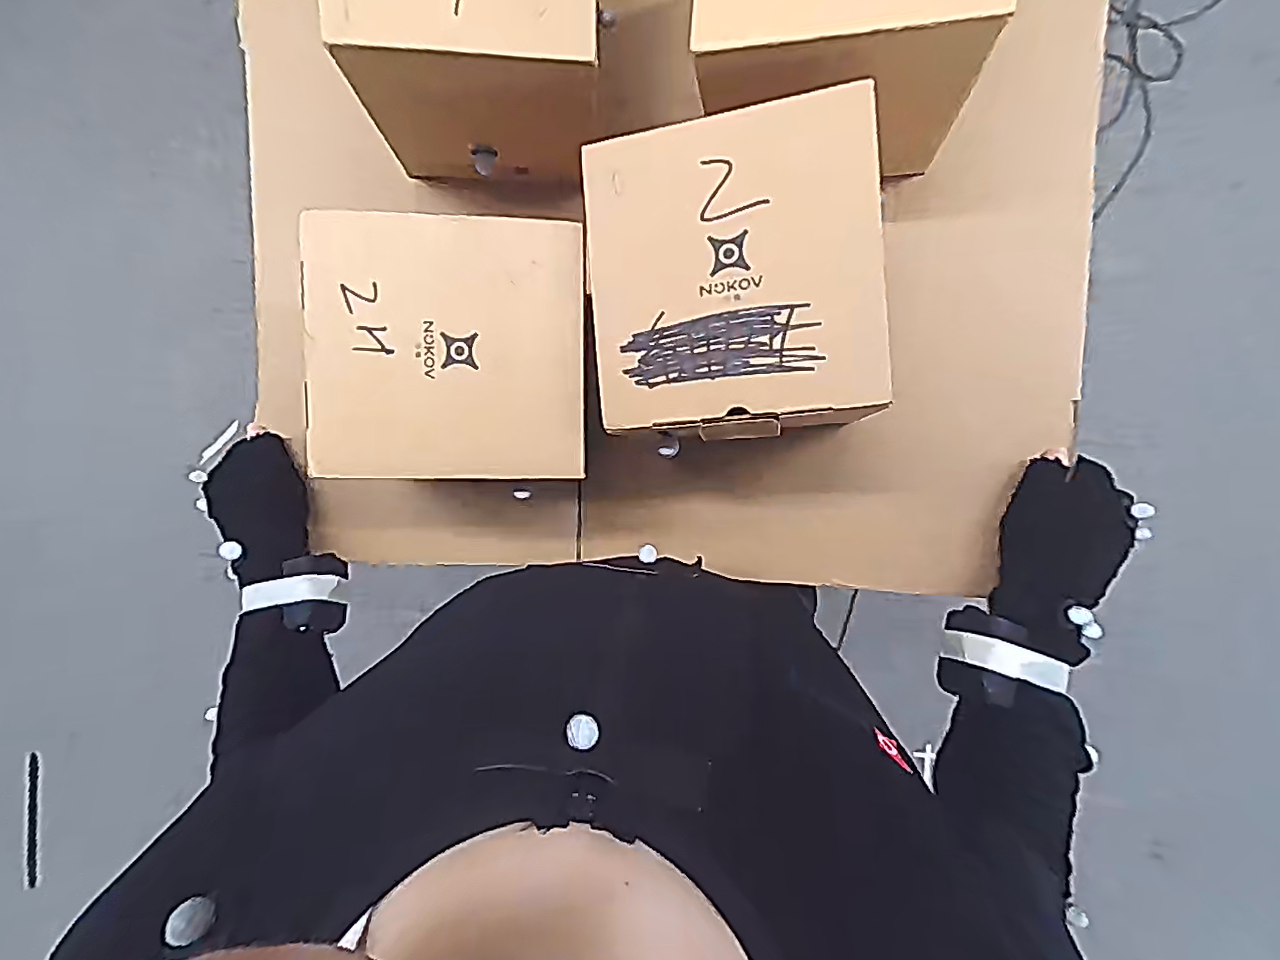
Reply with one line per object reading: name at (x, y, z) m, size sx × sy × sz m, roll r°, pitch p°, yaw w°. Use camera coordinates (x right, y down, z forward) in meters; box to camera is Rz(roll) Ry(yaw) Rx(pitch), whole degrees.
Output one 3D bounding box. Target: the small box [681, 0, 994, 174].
small box at (0.127, -0.330, 0.363) m, size 0.168 × 0.176 × 0.179 m, roll 4°, pitch 93°, yaw 14°
